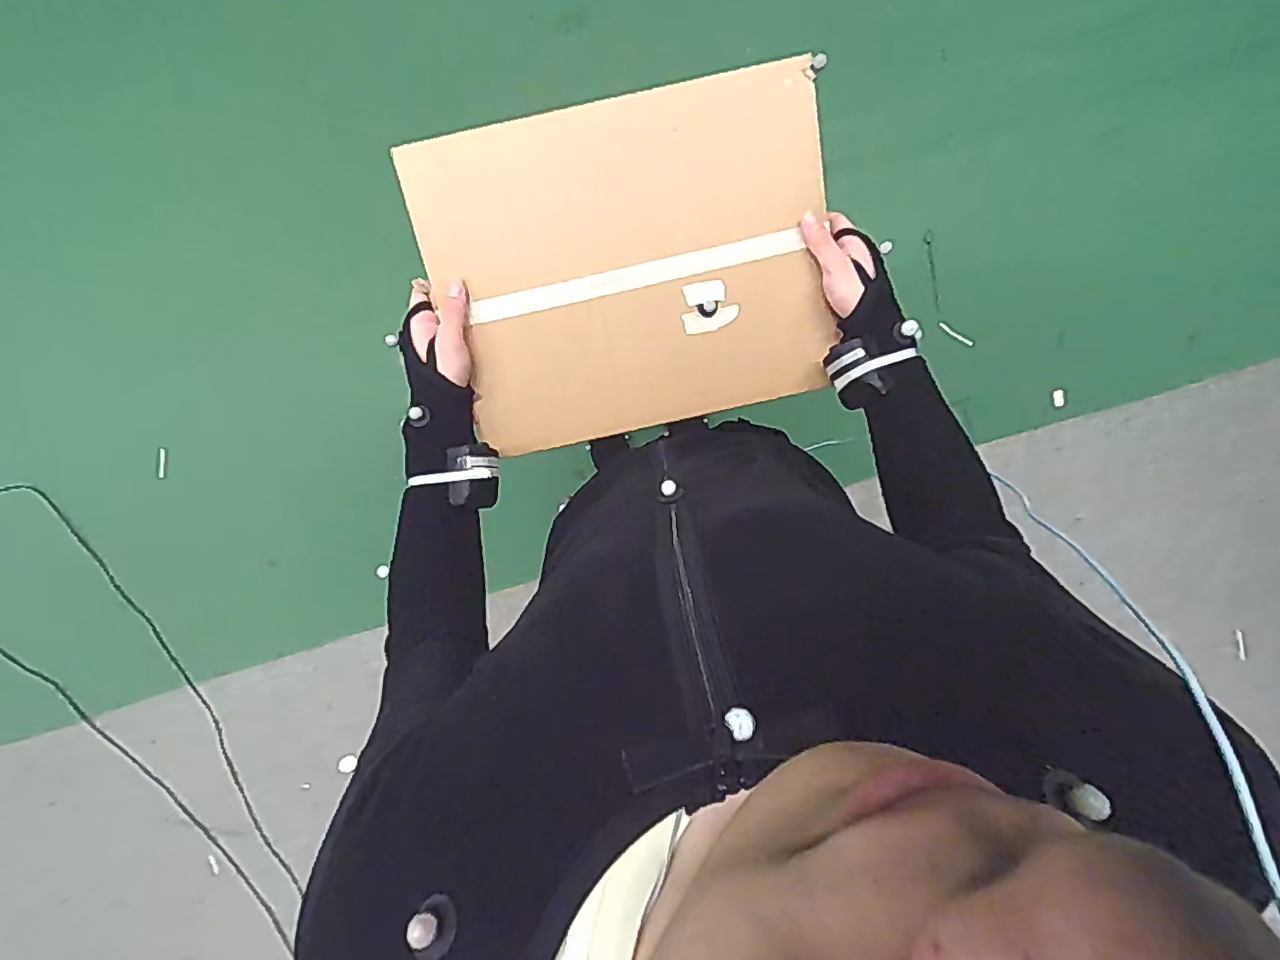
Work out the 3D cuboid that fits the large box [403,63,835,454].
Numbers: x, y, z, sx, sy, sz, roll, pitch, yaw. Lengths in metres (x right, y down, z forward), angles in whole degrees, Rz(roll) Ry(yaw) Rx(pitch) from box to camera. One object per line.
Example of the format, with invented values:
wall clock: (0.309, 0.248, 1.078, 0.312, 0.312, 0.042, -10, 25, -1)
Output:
large box: (-0.017, -0.254, 0.705, 0.408, 0.320, 0.320, -13, 107, -1)
